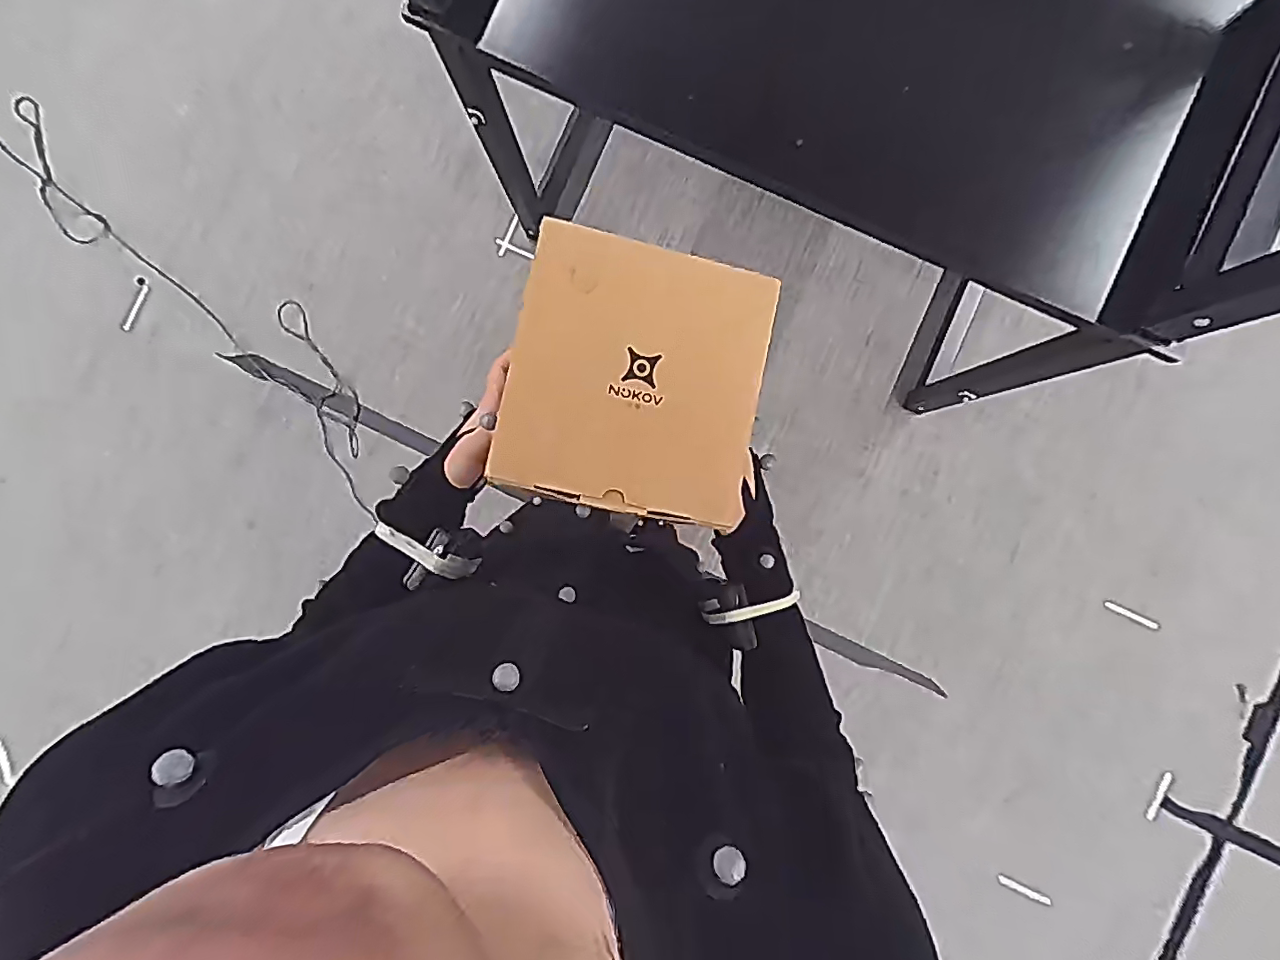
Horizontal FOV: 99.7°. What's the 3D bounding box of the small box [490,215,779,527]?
[{"bbox_3d":[-0.011,-0.067,0.430,0.168,0.176,0.179,12,87,-8],"label":"small box"}]
